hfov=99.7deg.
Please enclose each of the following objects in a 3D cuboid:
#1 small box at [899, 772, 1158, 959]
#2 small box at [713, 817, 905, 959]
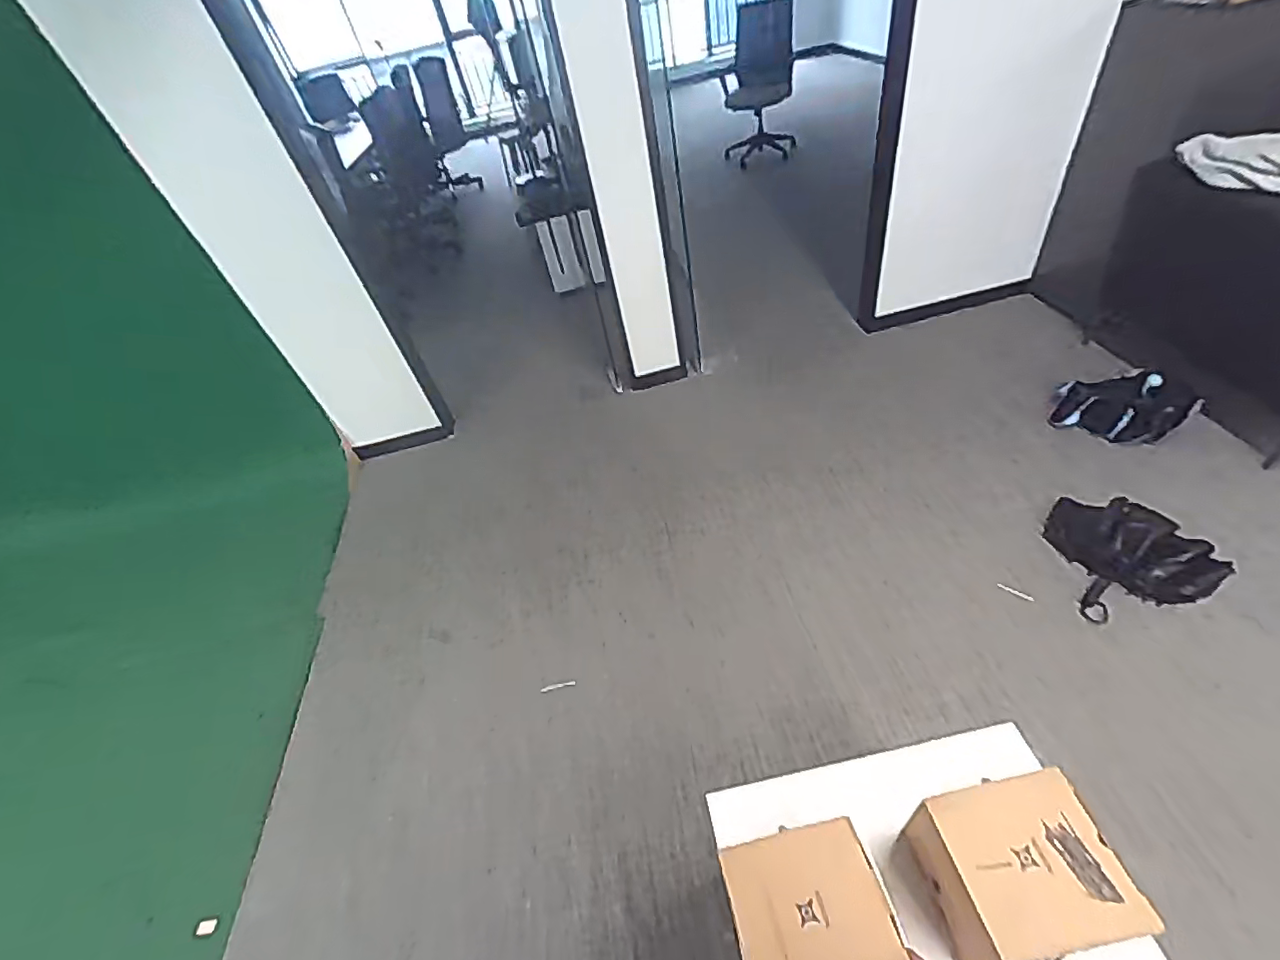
[{"bbox_3d":[0.454,0.490,0.671,0.179,0.176,0.168,-13,44,0],"label":"small box"},{"bbox_3d":[0.197,0.548,0.665,0.179,0.176,0.168,-14,43,-3],"label":"small box"}]
